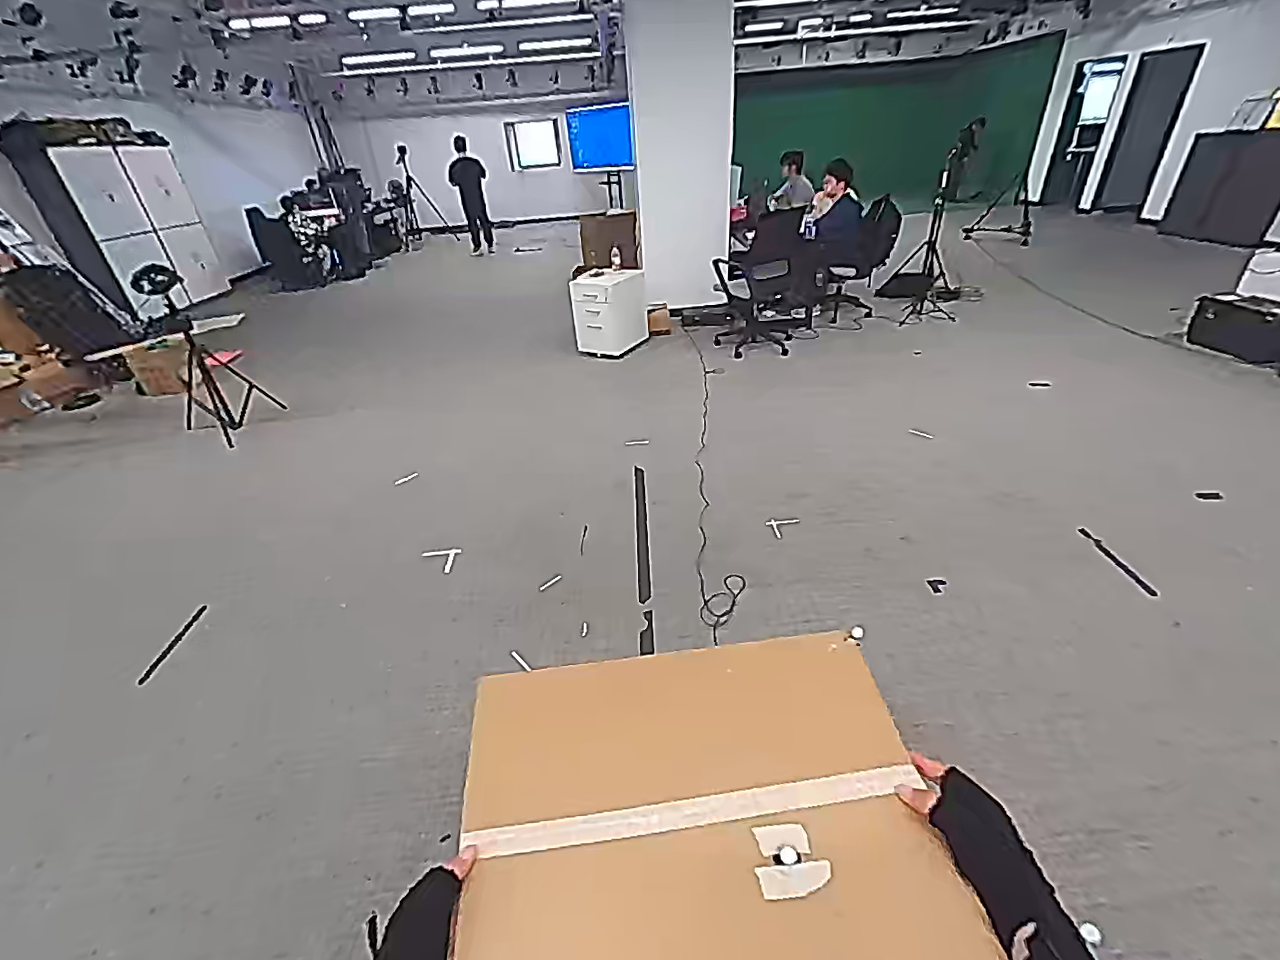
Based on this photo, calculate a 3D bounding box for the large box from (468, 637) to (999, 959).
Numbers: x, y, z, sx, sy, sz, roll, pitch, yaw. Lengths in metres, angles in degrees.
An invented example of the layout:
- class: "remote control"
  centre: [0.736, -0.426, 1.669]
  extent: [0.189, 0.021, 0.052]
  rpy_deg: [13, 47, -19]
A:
- class: "large box"
  centre: [0.060, 0.408, 0.580]
  extent: [0.408, 0.320, 0.320]
  rpy_deg: [-5, 42, -3]
